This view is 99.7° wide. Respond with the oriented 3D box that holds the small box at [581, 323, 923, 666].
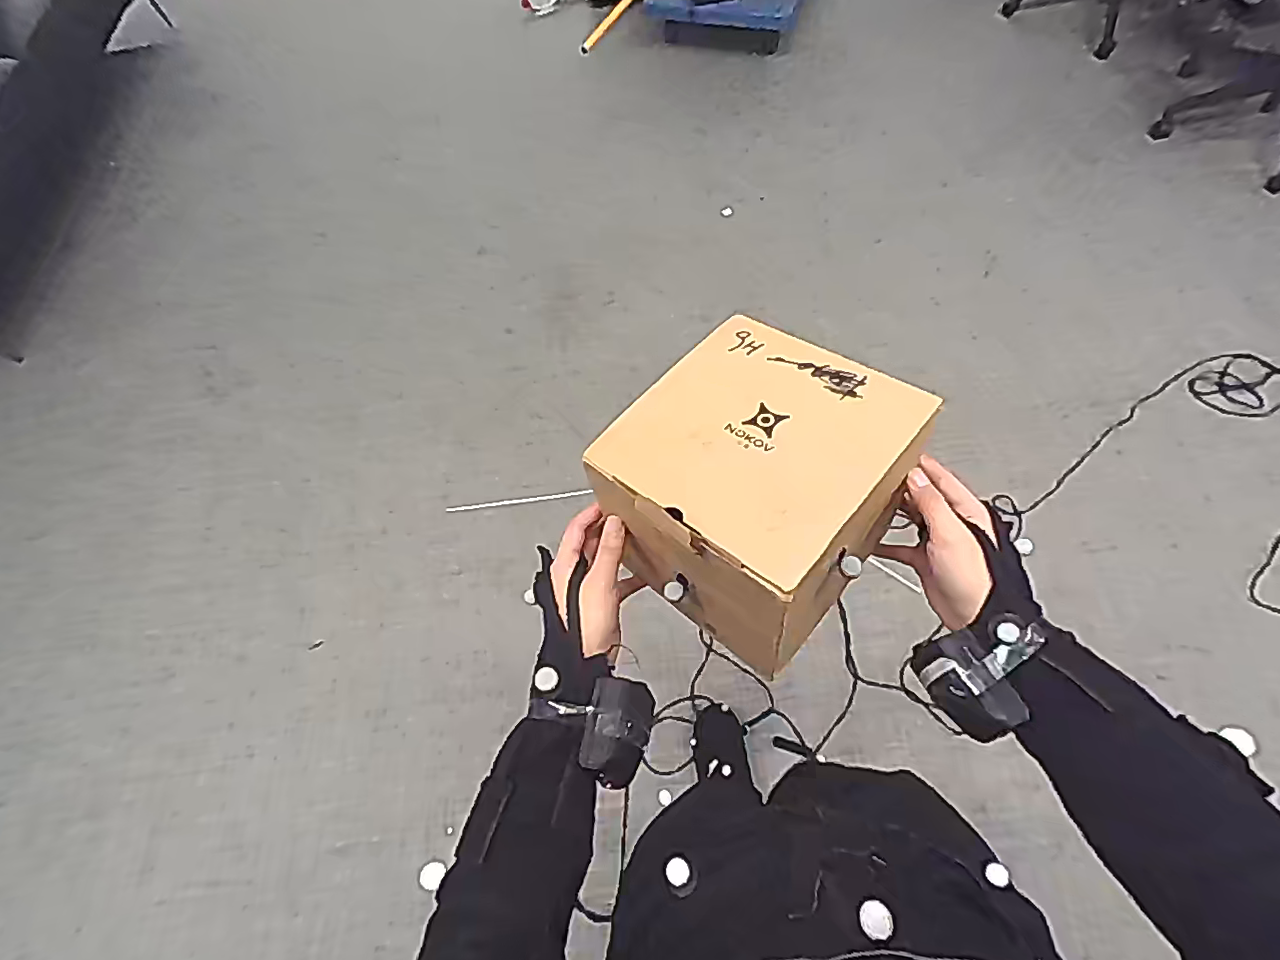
[{"bbox_3d":[0.086,0.016,0.429,0.168,0.176,0.179,34,68,29],"label":"small box"}]
